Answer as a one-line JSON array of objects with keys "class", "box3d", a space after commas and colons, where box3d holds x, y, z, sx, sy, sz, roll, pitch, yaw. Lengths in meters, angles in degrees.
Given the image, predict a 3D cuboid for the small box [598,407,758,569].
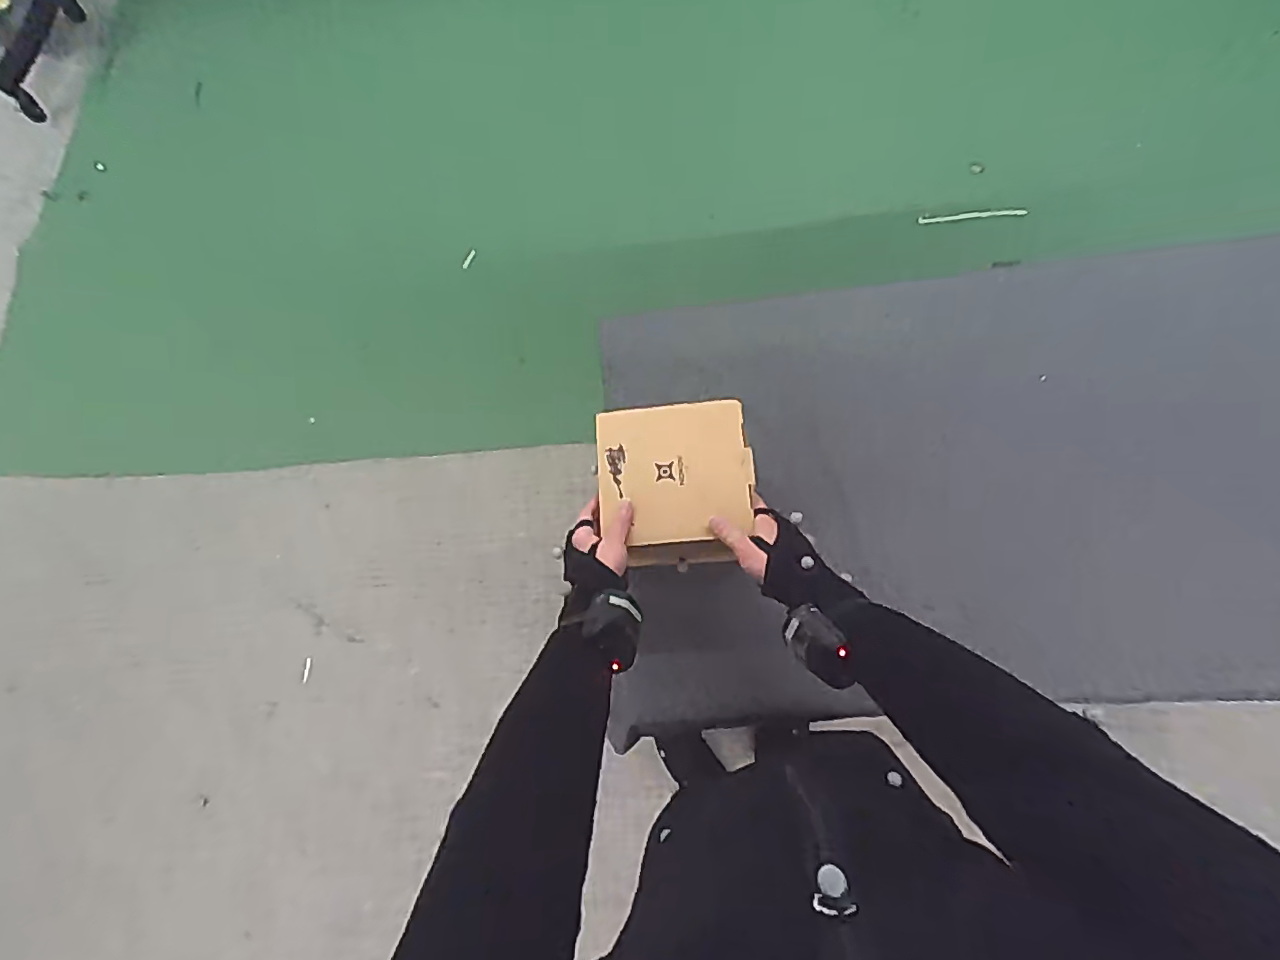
[{"class": "small box", "box3d": [0.046, 0.019, 0.693, 0.179, 0.176, 0.168, -4, 73, 5]}]
